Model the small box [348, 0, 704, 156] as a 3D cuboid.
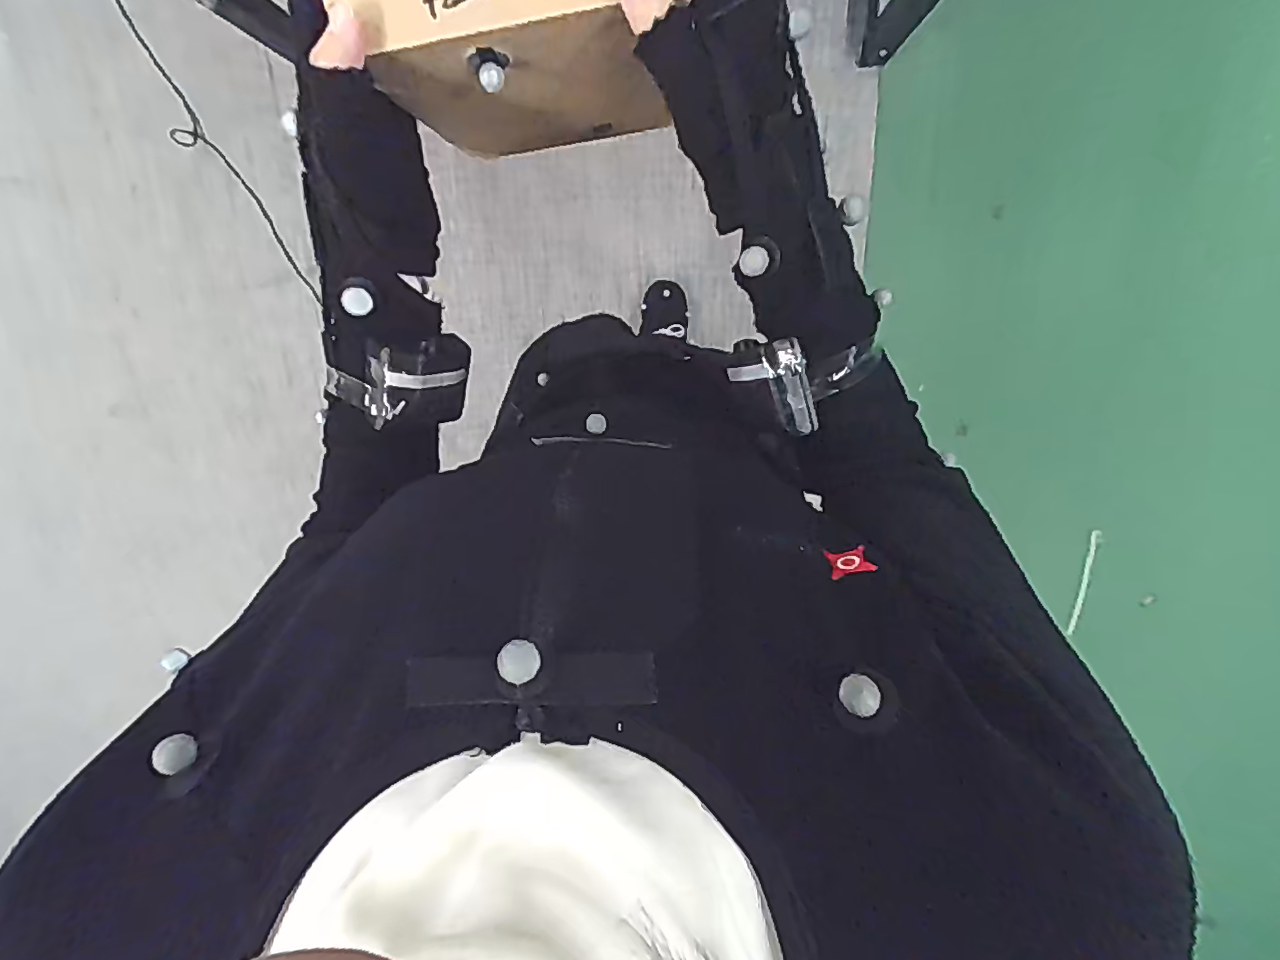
[{"bbox_3d":[-0.061,-0.315,0.302,0.168,0.176,0.179,-9,105,6],"label":"small box"}]
